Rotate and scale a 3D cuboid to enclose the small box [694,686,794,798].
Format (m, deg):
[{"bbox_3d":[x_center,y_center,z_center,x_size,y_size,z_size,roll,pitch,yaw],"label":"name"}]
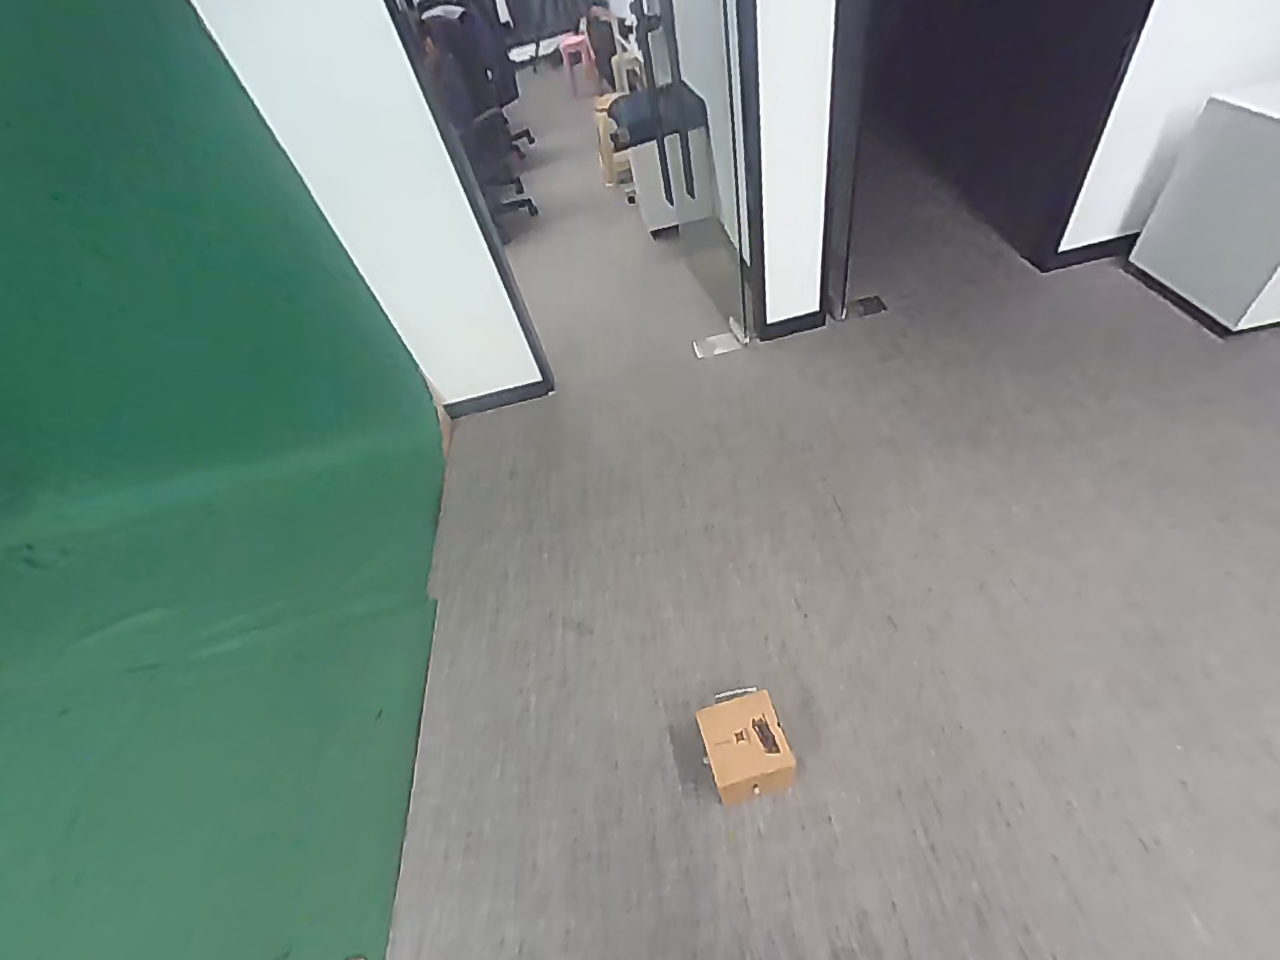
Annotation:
[{"bbox_3d":[0.238,0.608,1.252,0.179,0.176,0.168,-19,48,-3],"label":"small box"}]
